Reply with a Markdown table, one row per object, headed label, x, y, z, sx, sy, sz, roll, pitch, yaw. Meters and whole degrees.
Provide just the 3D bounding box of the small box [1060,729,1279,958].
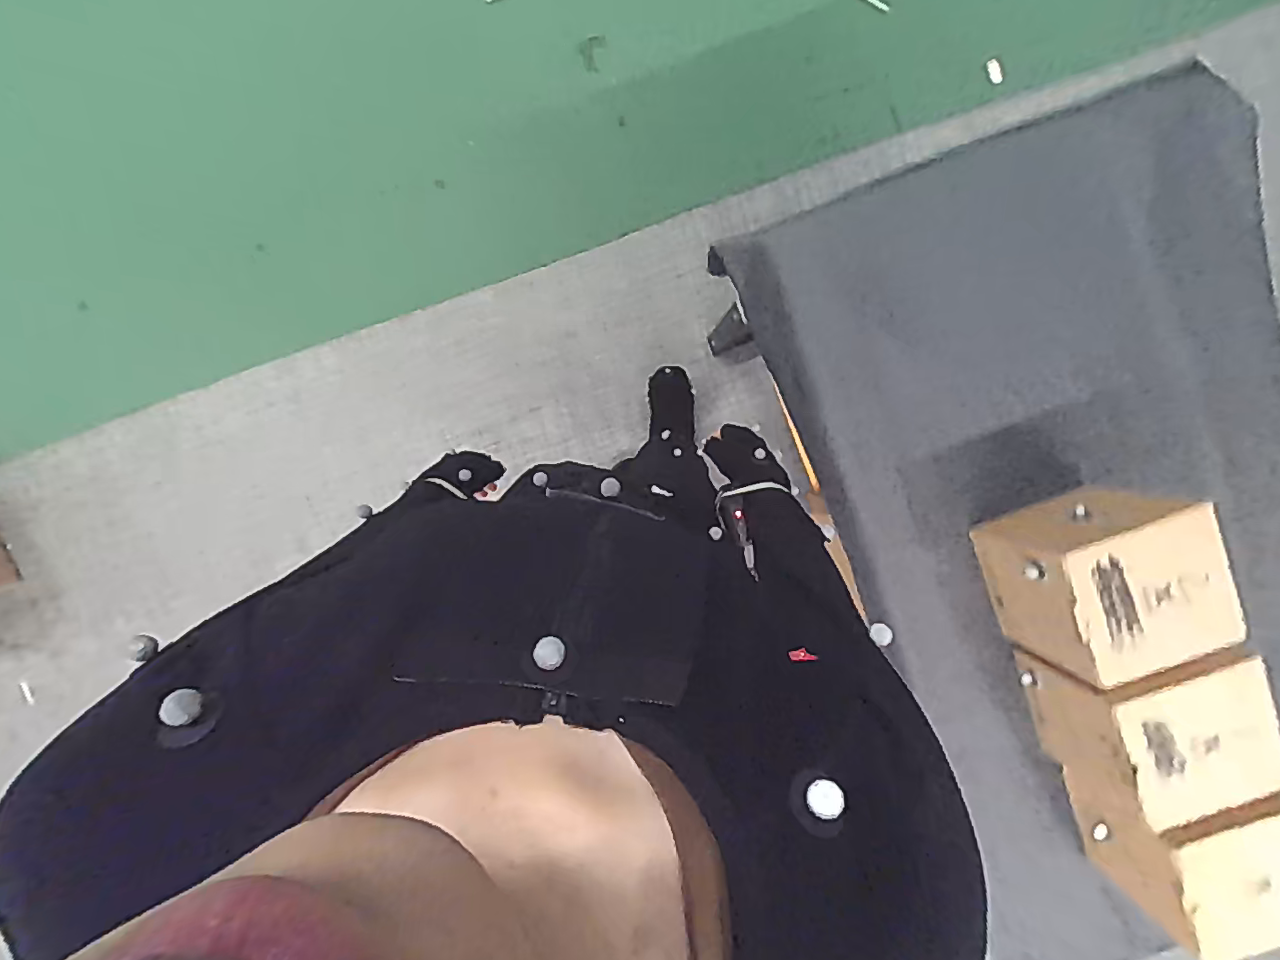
| label | x | y | z | sx | sy | sz | roll | pitch | yaw |
| --- | --- | --- | --- | --- | --- | --- | --- | --- | --- |
| small box | 0.725 | 0.469 | 0.725 | 0.179 | 0.176 | 0.168 | -19 | 96 | 2 |
